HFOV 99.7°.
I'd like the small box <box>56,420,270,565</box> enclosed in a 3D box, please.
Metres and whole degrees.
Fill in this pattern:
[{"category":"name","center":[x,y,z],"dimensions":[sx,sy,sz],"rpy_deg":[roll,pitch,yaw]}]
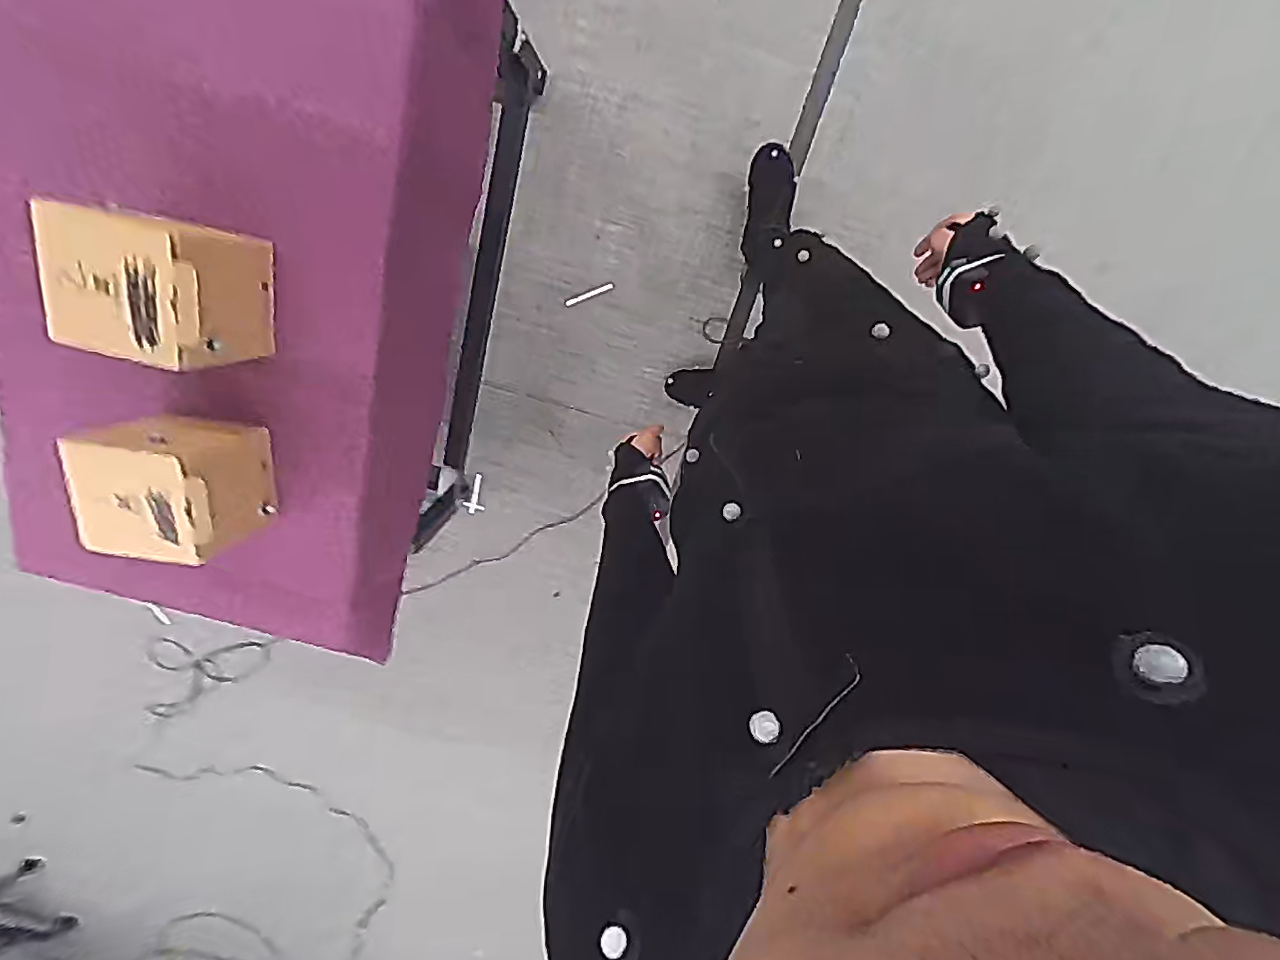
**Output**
[{"category":"small box","center":[-0.700,0.011,0.823],"dimensions":[0.179,0.176,0.168],"rpy_deg":[7,109,1]}]
